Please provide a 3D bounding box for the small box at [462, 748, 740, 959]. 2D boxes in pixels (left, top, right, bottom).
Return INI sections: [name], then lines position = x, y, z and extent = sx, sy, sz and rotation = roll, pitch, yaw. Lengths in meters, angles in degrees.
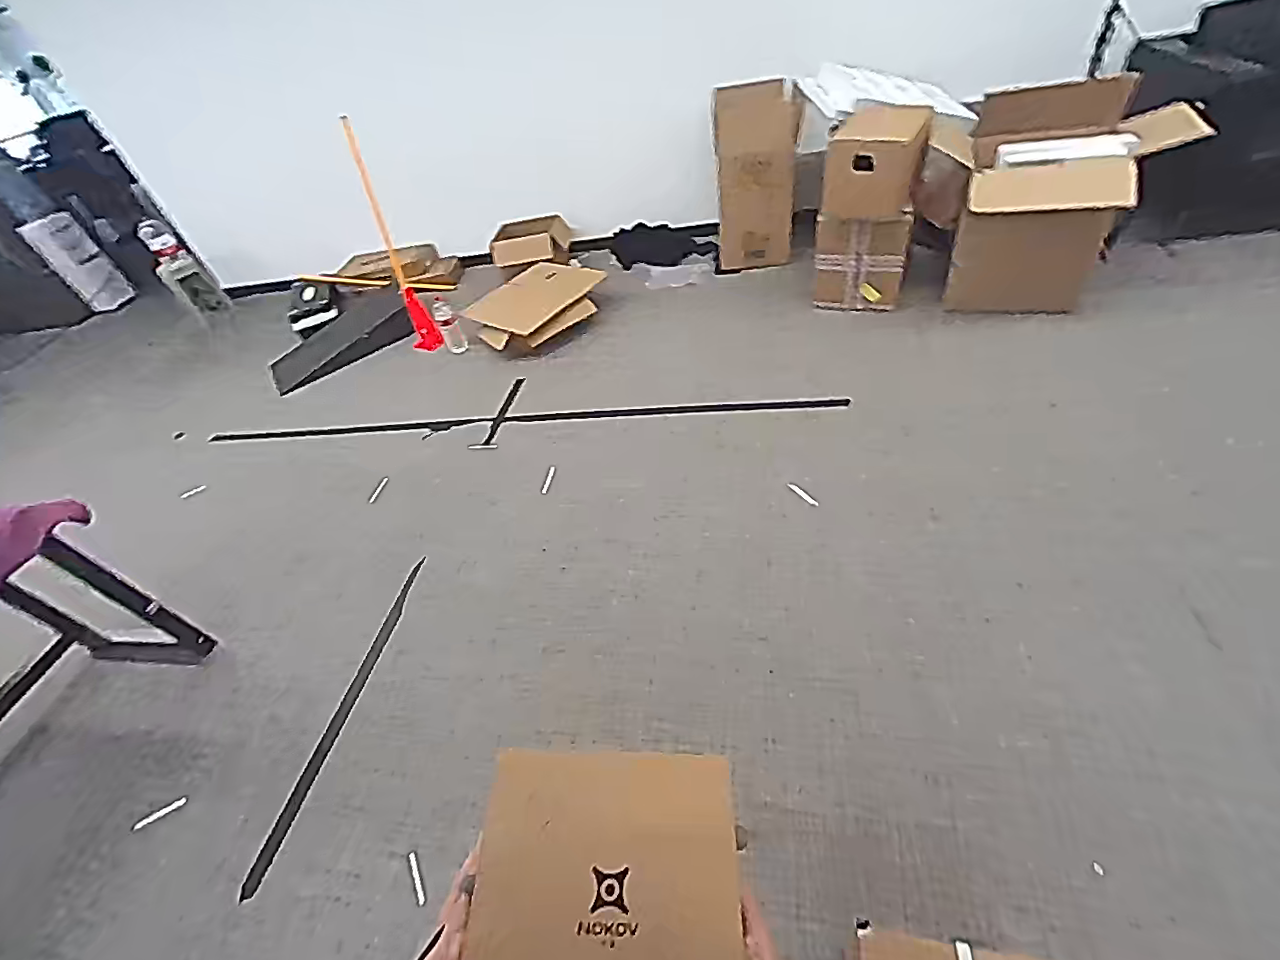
[small box]
position = -0.027, 0.313, 0.392
extent = 0.168, 0.176, 0.179
rotation = 2, 49, -2
